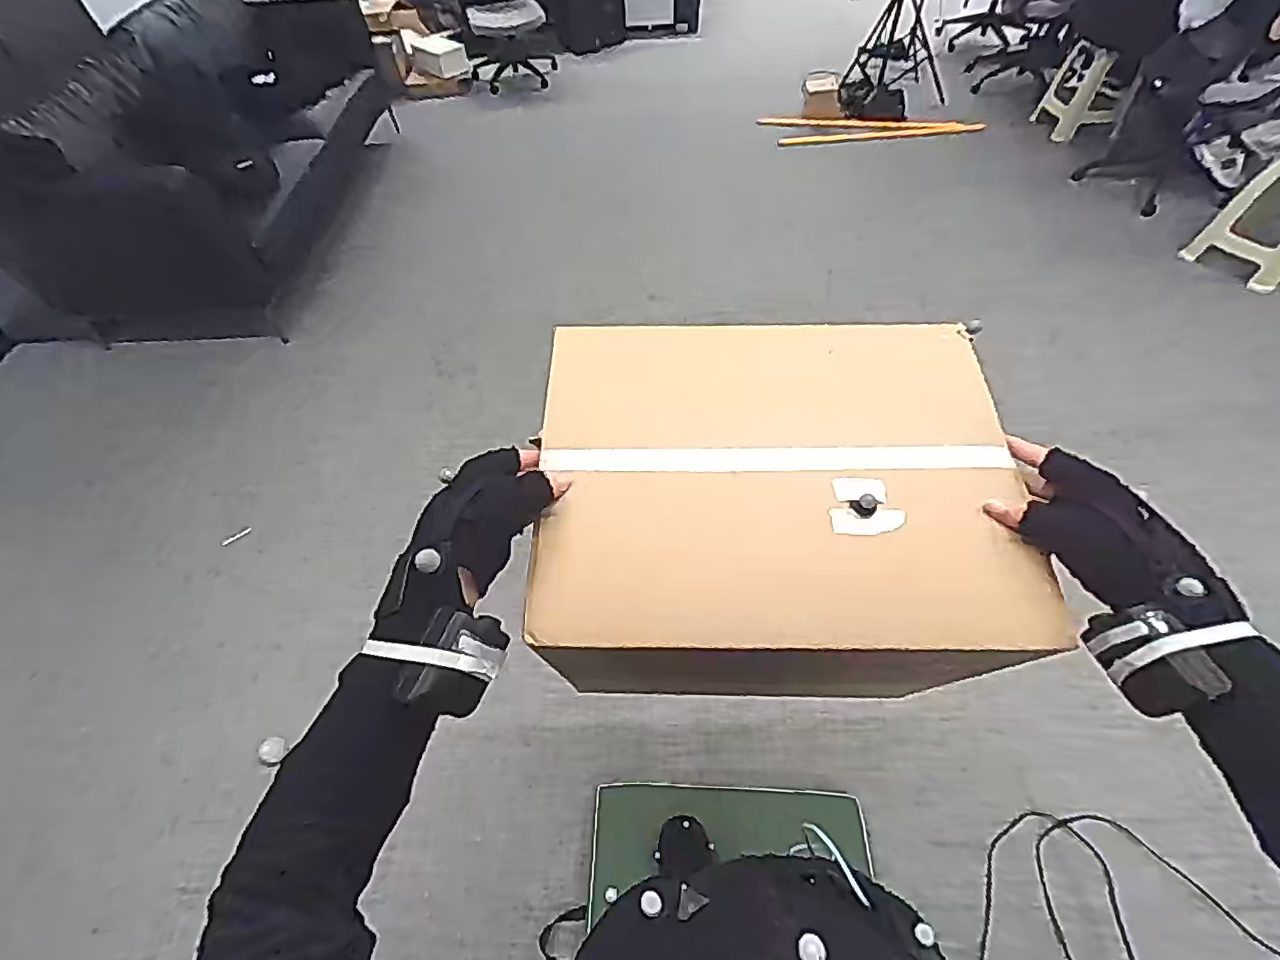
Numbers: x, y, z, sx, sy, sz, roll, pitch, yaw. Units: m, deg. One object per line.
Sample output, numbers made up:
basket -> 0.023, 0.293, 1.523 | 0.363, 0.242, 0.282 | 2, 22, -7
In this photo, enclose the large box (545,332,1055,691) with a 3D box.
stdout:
large box -> 0.121, 0.055, 0.615 | 0.408, 0.320, 0.320 | 0, 63, 1
